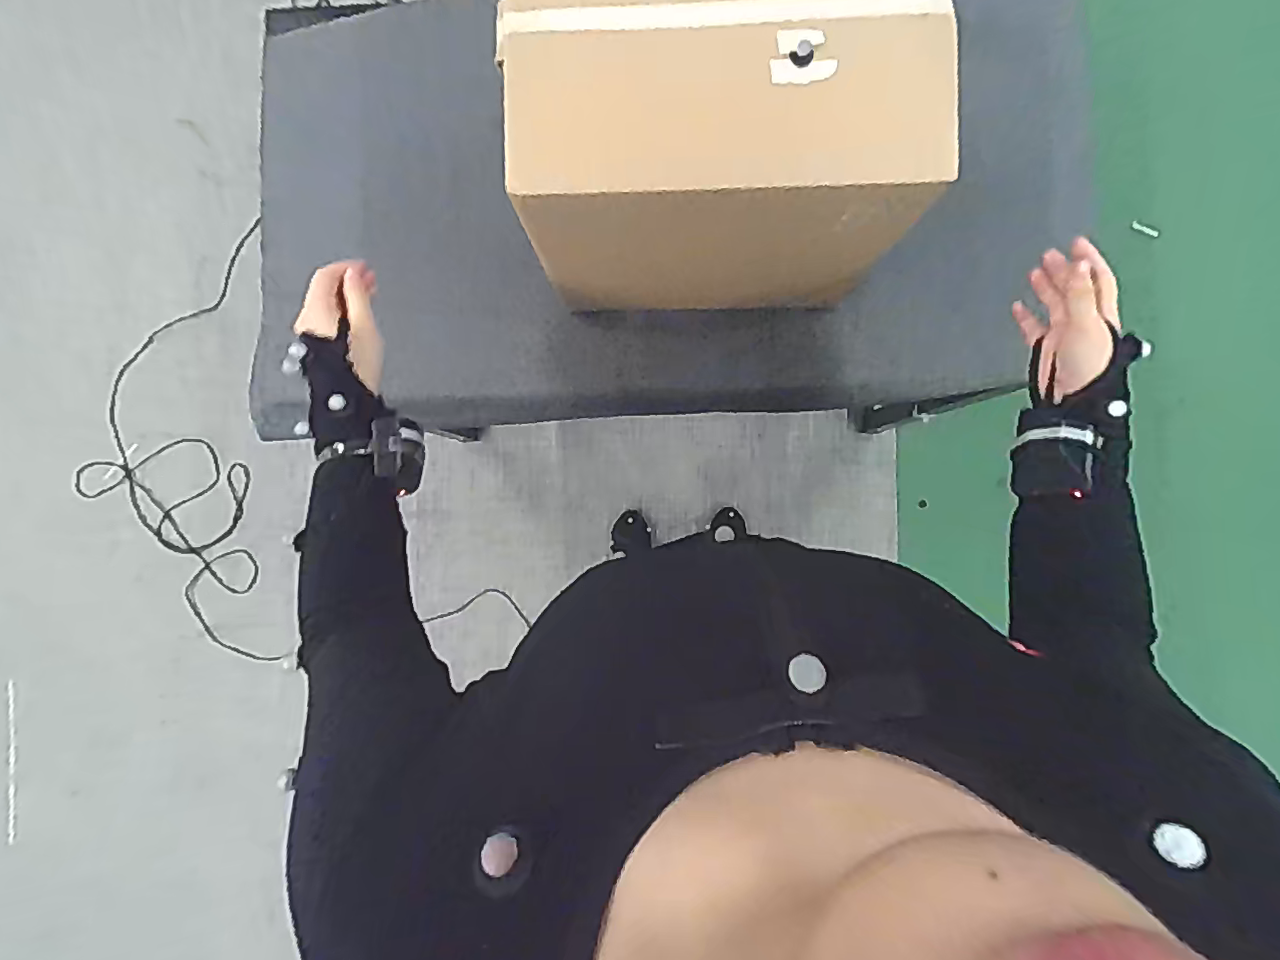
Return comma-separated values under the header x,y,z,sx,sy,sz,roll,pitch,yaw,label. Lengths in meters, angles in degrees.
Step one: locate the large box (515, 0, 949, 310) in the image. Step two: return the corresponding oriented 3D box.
x,y,z,sx,sy,sz,roll,pitch,yaw,label
0.083,-0.415,0.653,0.408,0.320,0.320,-1,88,2,large box
